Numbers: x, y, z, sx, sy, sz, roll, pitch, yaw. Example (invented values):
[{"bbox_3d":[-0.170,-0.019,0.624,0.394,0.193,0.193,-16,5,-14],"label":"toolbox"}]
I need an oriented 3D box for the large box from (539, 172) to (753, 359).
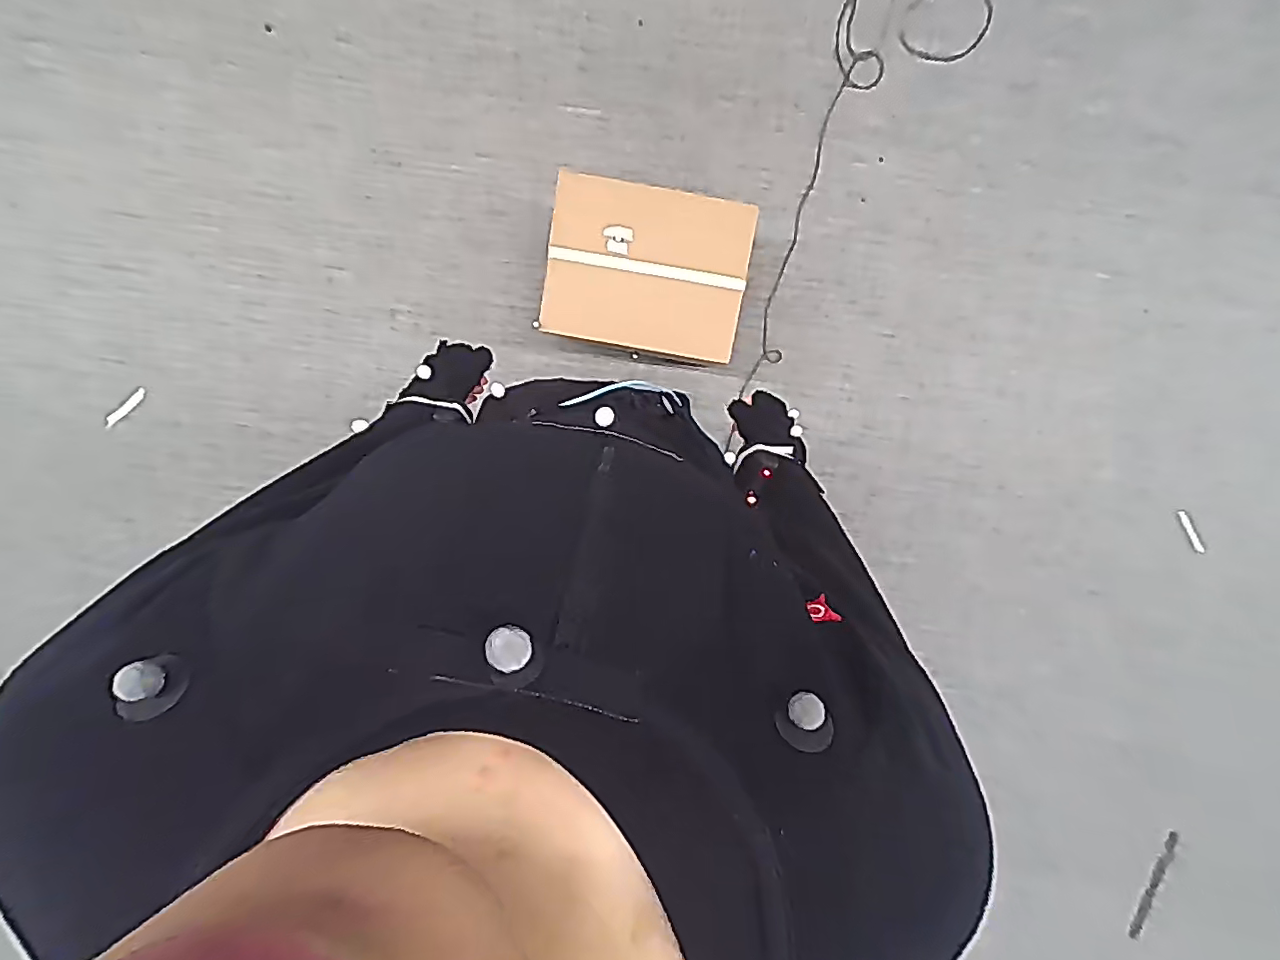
[{"bbox_3d":[0.012,-0.463,1.246,0.408,0.320,0.320,10,101,0],"label":"large box"}]
